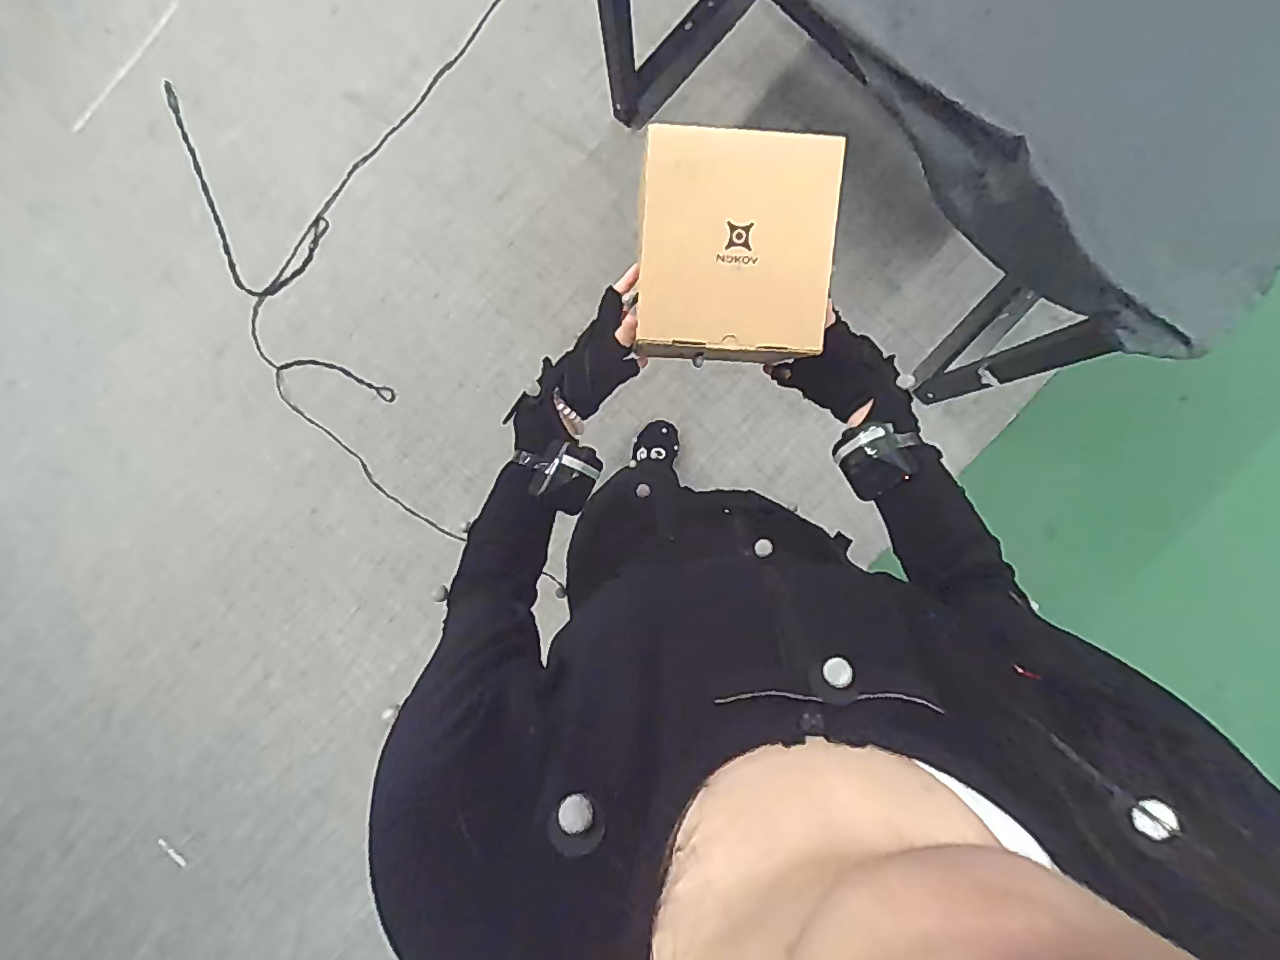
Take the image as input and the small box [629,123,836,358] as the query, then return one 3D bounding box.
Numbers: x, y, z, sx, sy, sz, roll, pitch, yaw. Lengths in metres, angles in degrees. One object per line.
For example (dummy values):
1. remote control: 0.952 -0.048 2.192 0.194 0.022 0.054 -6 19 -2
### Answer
1. small box: 0.077 -0.221 0.546 0.168 0.176 0.179 3 101 -3
